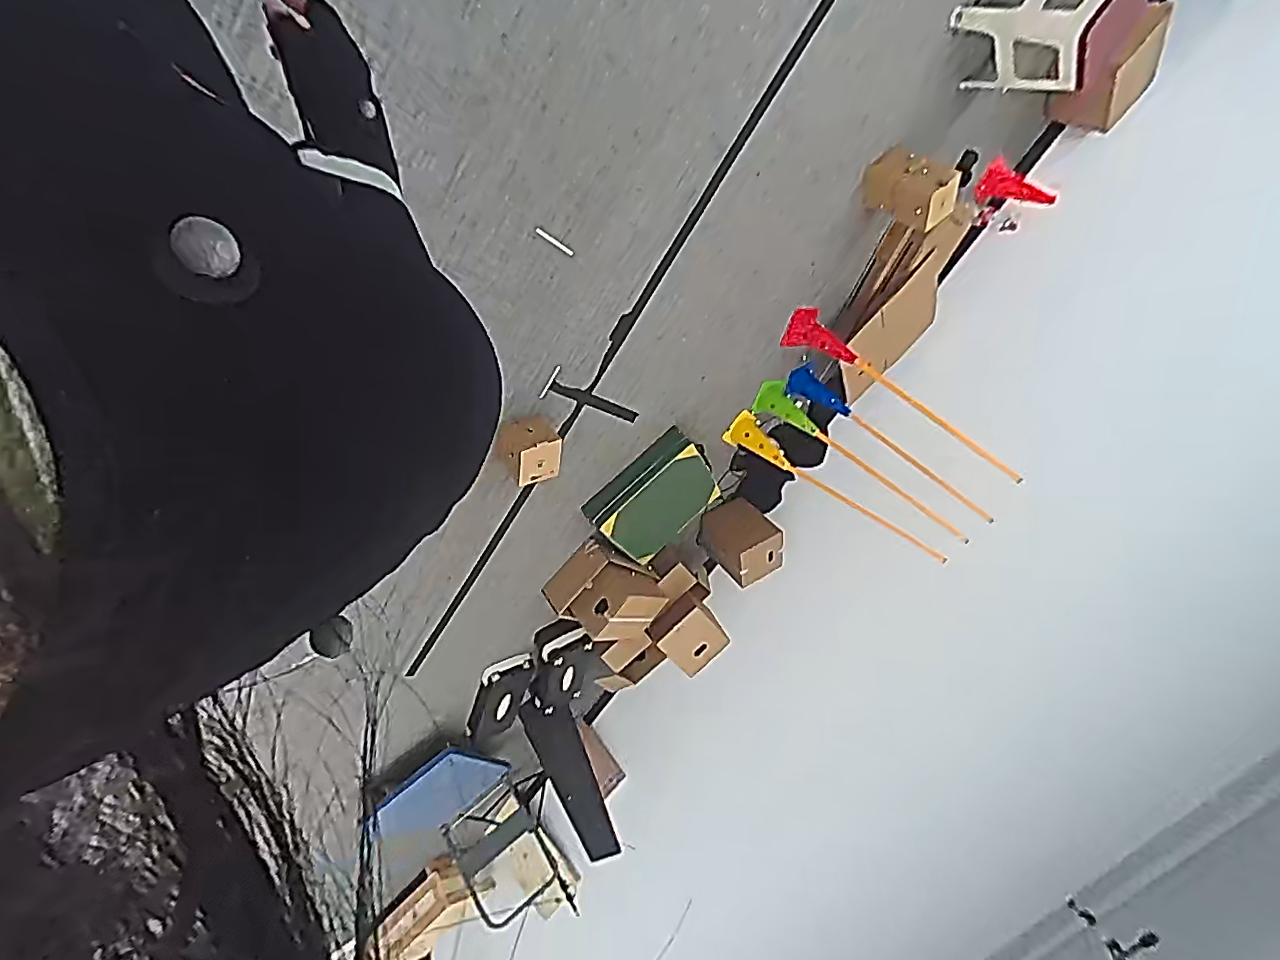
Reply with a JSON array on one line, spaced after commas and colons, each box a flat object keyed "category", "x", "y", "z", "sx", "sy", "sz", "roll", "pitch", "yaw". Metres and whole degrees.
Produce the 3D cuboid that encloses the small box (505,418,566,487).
[{"category": "small box", "x": -0.389, "y": -0.111, "z": 1.993, "sx": 0.168, "sy": 0.176, "sz": 0.179, "roll": -21, "pitch": 142, "yaw": -30}]
